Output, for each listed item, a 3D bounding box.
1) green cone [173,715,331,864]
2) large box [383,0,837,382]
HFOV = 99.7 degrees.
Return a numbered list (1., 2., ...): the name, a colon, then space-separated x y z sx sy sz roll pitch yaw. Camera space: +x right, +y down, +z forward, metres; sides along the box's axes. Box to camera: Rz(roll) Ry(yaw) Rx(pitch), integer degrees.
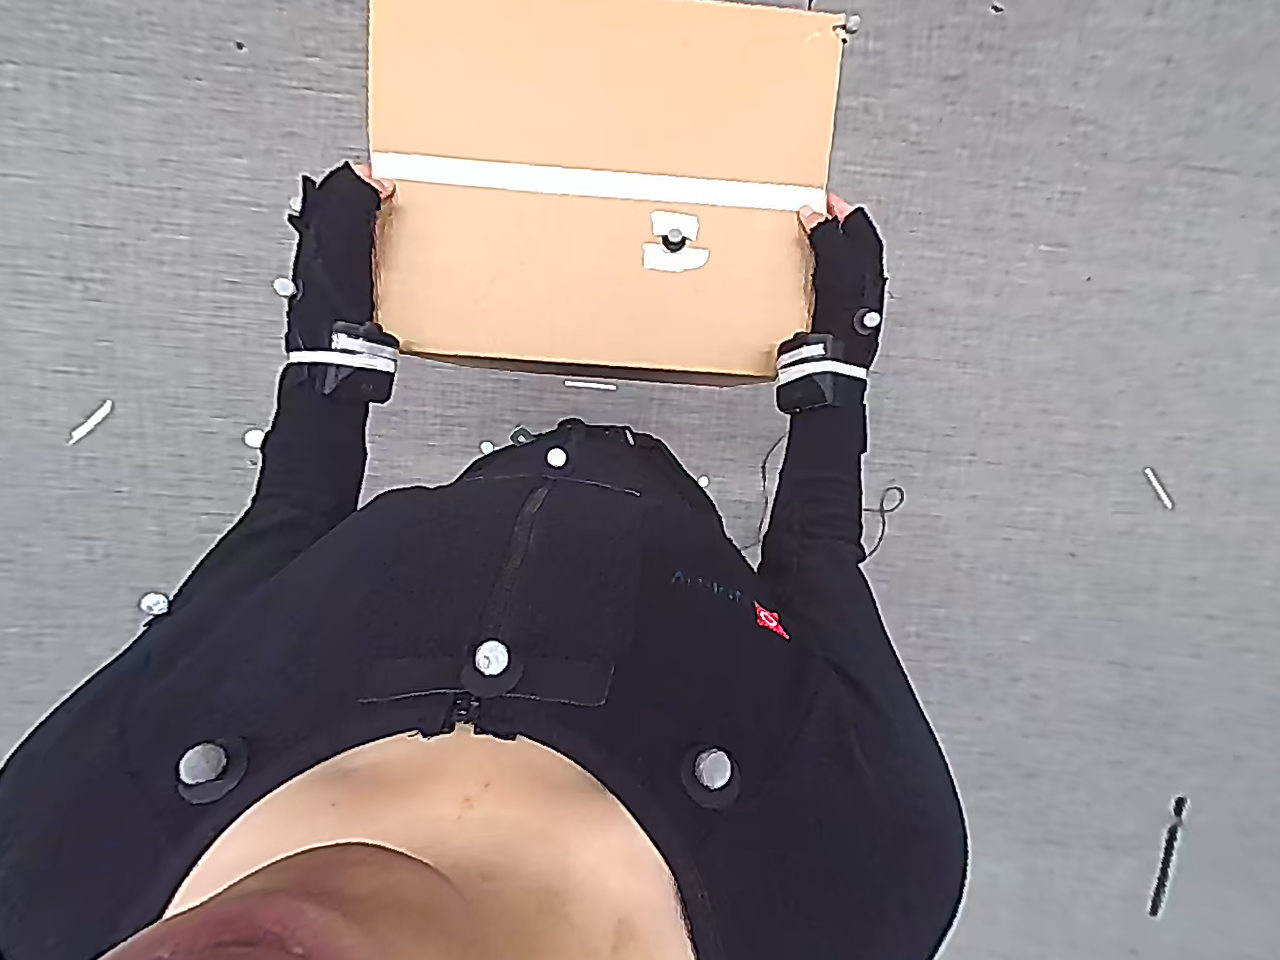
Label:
1. green cone: -1.014 0.810 1.377 0.202 0.368 0.200 -33 95 4
2. large box: -0.039 -0.287 0.637 0.408 0.320 0.320 3 99 -4
